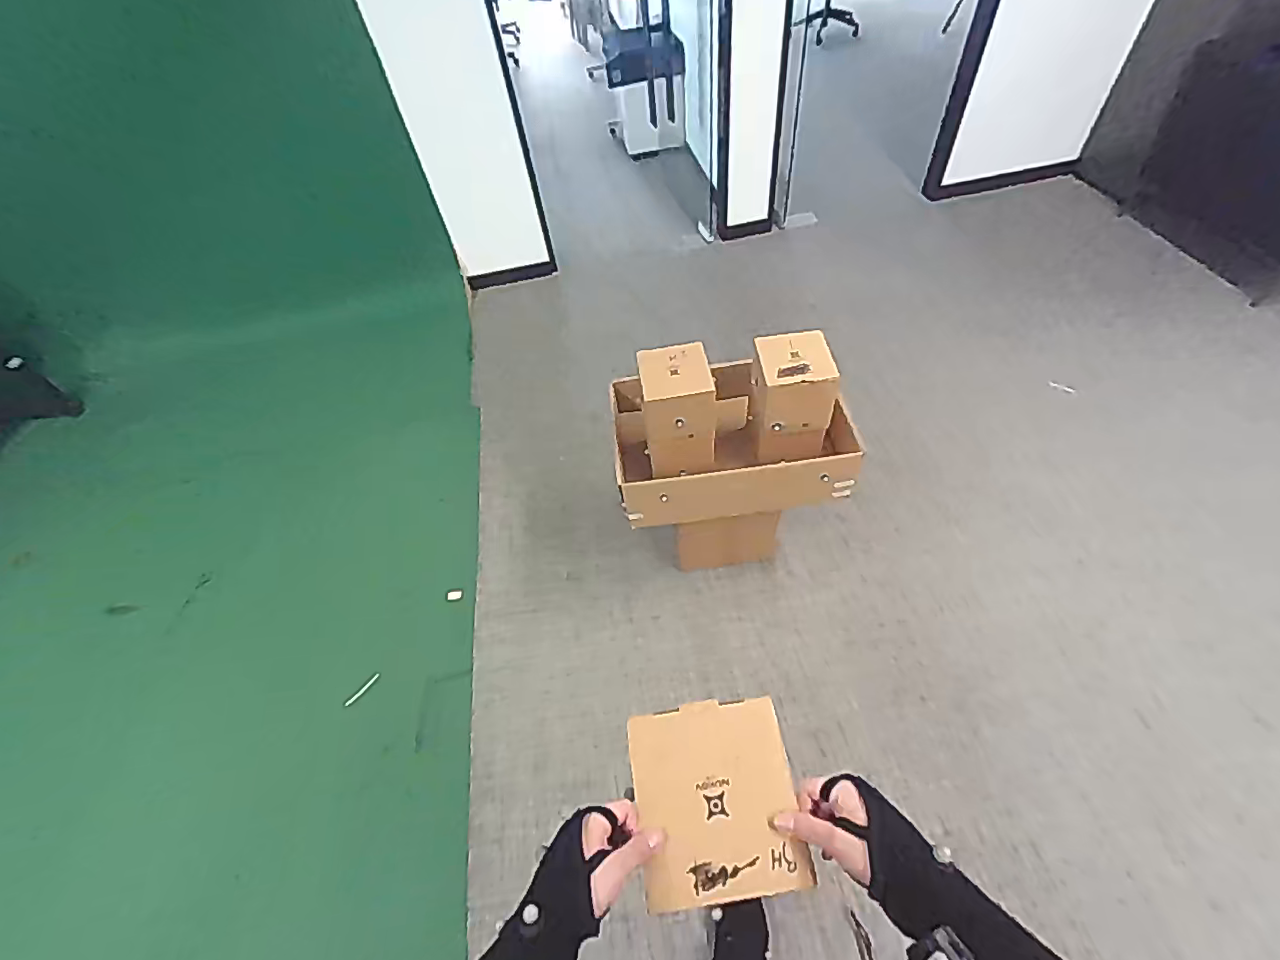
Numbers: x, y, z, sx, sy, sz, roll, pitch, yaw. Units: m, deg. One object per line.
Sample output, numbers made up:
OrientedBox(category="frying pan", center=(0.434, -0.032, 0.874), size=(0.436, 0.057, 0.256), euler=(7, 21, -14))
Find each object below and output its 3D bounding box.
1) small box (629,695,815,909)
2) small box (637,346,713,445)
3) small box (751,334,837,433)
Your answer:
OrientedBox(category="small box", center=(0.078, 0.365, 0.622), size=(0.168, 0.176, 0.179), euler=(-7, 58, -2))
OrientedBox(category="small box", center=(0.088, -0.201, 1.338), size=(0.168, 0.176, 0.179), euler=(-8, 53, 0))
OrientedBox(category="small box", center=(0.370, -0.228, 1.325), size=(0.168, 0.176, 0.179), euler=(-6, 51, 4))
